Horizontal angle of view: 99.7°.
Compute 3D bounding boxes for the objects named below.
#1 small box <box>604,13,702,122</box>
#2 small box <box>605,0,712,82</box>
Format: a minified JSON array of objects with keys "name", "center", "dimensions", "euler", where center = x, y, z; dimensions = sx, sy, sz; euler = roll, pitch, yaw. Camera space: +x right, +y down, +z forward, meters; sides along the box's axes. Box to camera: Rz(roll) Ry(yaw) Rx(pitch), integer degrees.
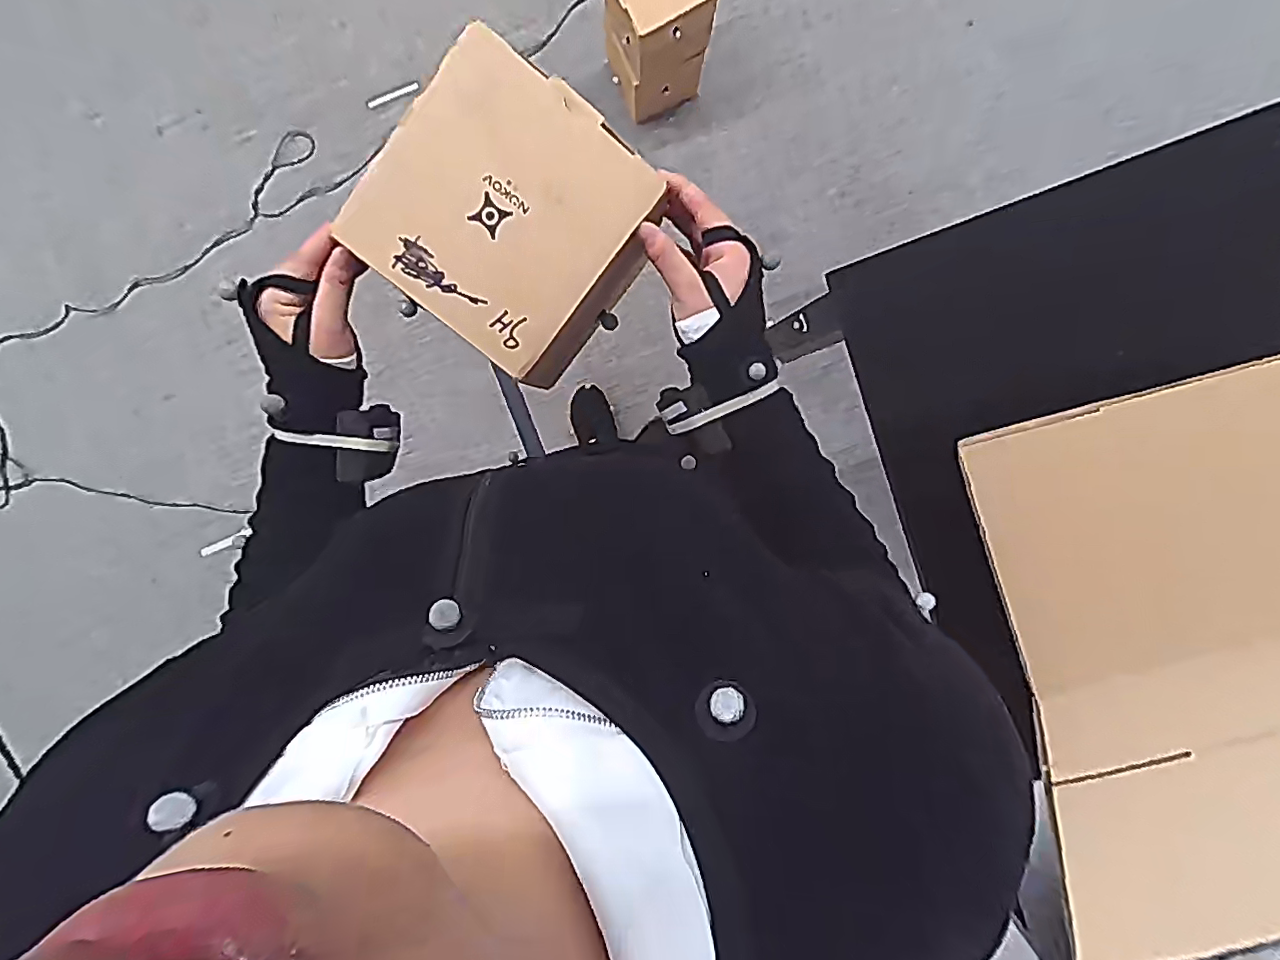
[{"name":"small box","center":[0.029,-0.996,1.275],"dimensions":[0.179,0.176,0.168],"euler":[-24,97,4]},{"name":"small box","center":[0.034,-0.977,1.113],"dimensions":[0.179,0.176,0.168],"euler":[-27,98,3]}]
